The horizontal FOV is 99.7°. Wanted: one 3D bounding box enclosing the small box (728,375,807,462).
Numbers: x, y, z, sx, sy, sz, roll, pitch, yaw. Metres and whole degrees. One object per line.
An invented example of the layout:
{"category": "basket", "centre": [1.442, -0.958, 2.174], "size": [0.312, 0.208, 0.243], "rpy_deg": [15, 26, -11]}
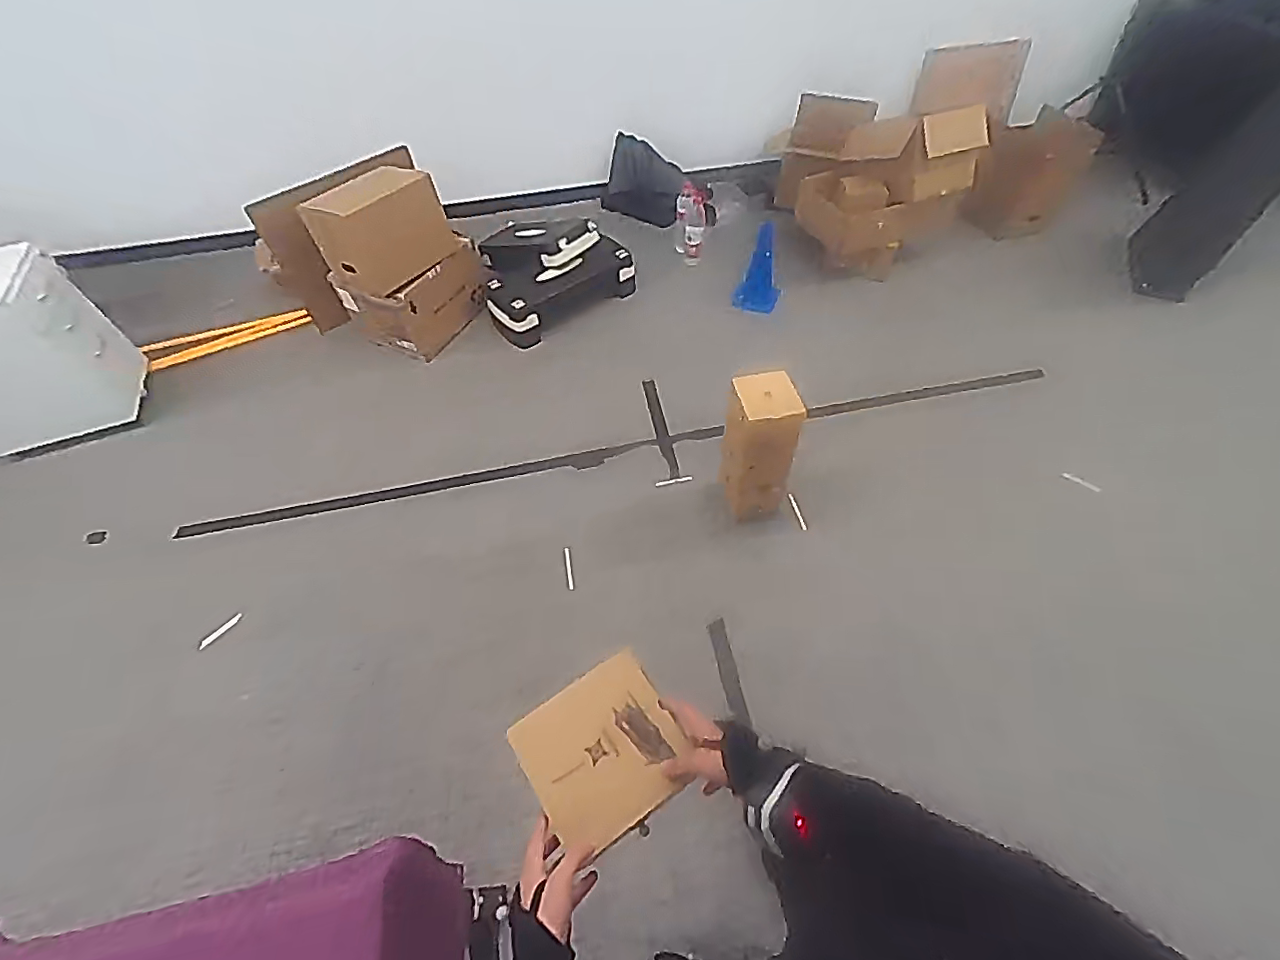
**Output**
{"category": "small box", "centre": [0.363, -0.179, 1.576], "size": [0.168, 0.176, 0.179], "rpy_deg": [-10, 54, -5]}

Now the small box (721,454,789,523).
{"category": "small box", "centre": [0.382, 0.020, 1.836], "size": [0.168, 0.176, 0.179], "rpy_deg": [-13, 55, -7]}

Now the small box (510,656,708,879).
{"category": "small box", "centre": [-0.036, 0.359, 0.687], "size": [0.179, 0.176, 0.168], "rpy_deg": [-31, 61, -16]}
